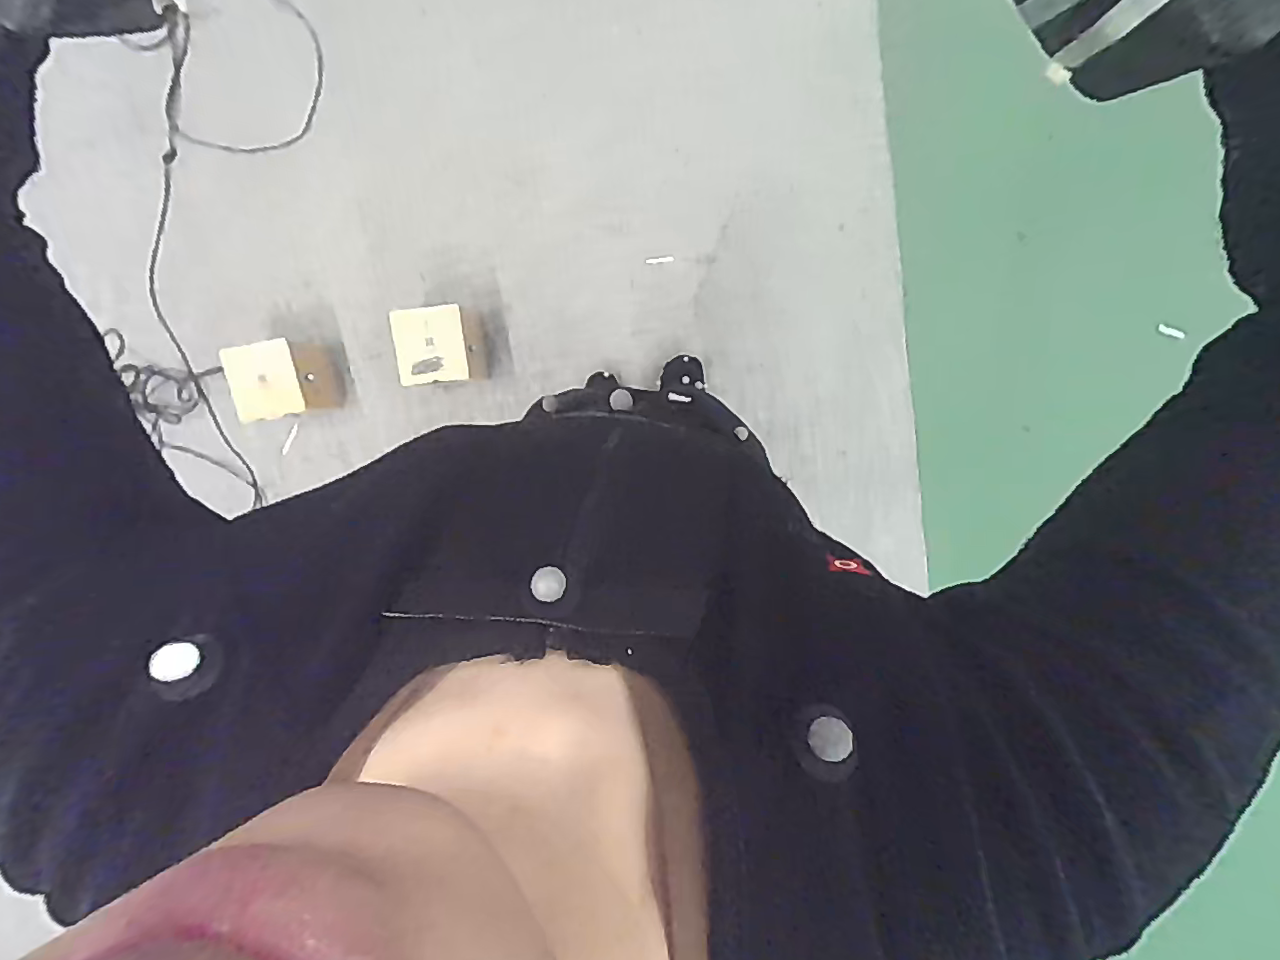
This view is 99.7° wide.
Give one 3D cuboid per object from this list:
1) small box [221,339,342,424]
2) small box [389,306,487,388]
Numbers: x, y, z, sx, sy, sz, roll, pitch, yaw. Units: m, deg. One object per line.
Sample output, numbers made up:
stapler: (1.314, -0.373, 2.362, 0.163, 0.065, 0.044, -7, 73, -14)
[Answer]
small box: (-0.885, -0.244, 1.351, 0.168, 0.176, 0.179, -11, 100, 2)
small box: (-0.490, -0.323, 1.338, 0.168, 0.176, 0.179, -6, 99, 1)
